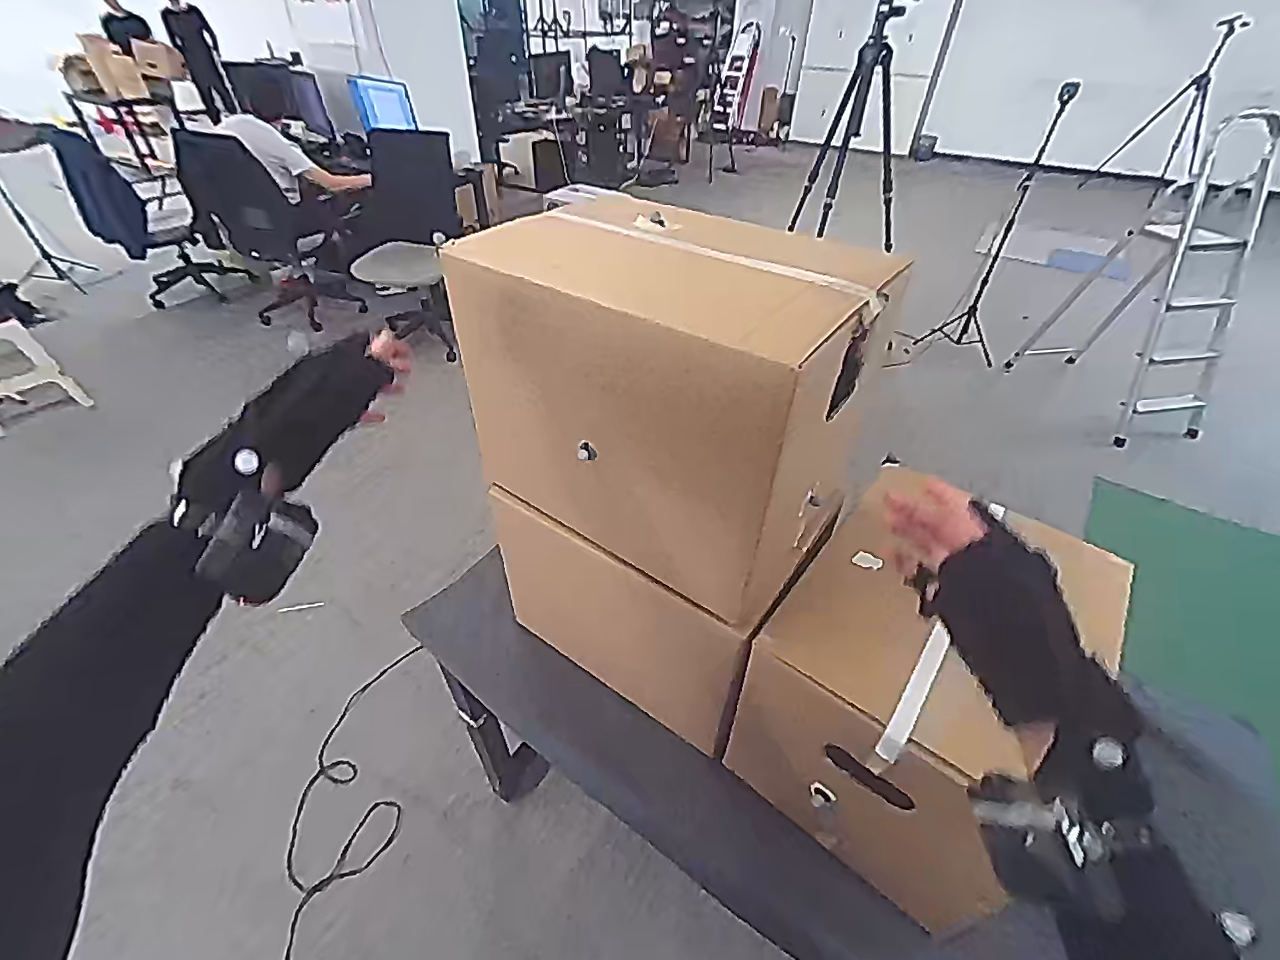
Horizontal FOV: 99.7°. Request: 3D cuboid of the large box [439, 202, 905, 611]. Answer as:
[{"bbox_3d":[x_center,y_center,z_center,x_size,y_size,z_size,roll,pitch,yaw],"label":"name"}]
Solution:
[{"bbox_3d":[0.038,-0.117,0.664,0.408,0.320,0.320,26,45,27],"label":"large box"}]
